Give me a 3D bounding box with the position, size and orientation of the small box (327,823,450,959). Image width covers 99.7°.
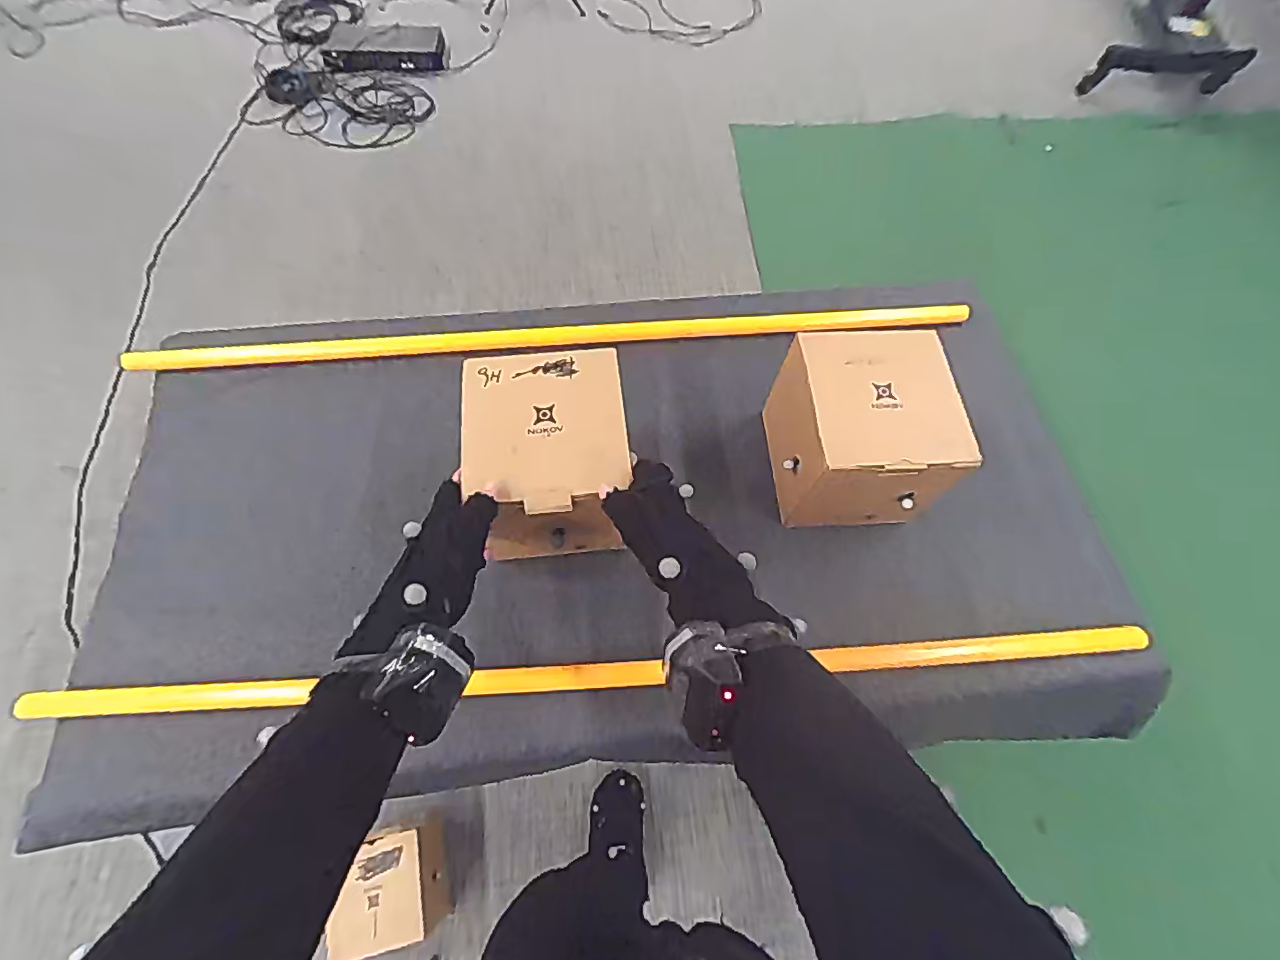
[{"bbox_3d":[-0.475,0.779,1.036,0.168,0.176,0.179,-12,66,-7],"label":"small box"}]

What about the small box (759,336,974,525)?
[{"bbox_3d":[0.254,-0.051,0.656,0.168,0.176,0.179,-2,63,-4],"label":"small box"}]

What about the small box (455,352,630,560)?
[{"bbox_3d":[-0.104,-0.017,0.620,0.168,0.176,0.179,-9,64,-5],"label":"small box"}]
